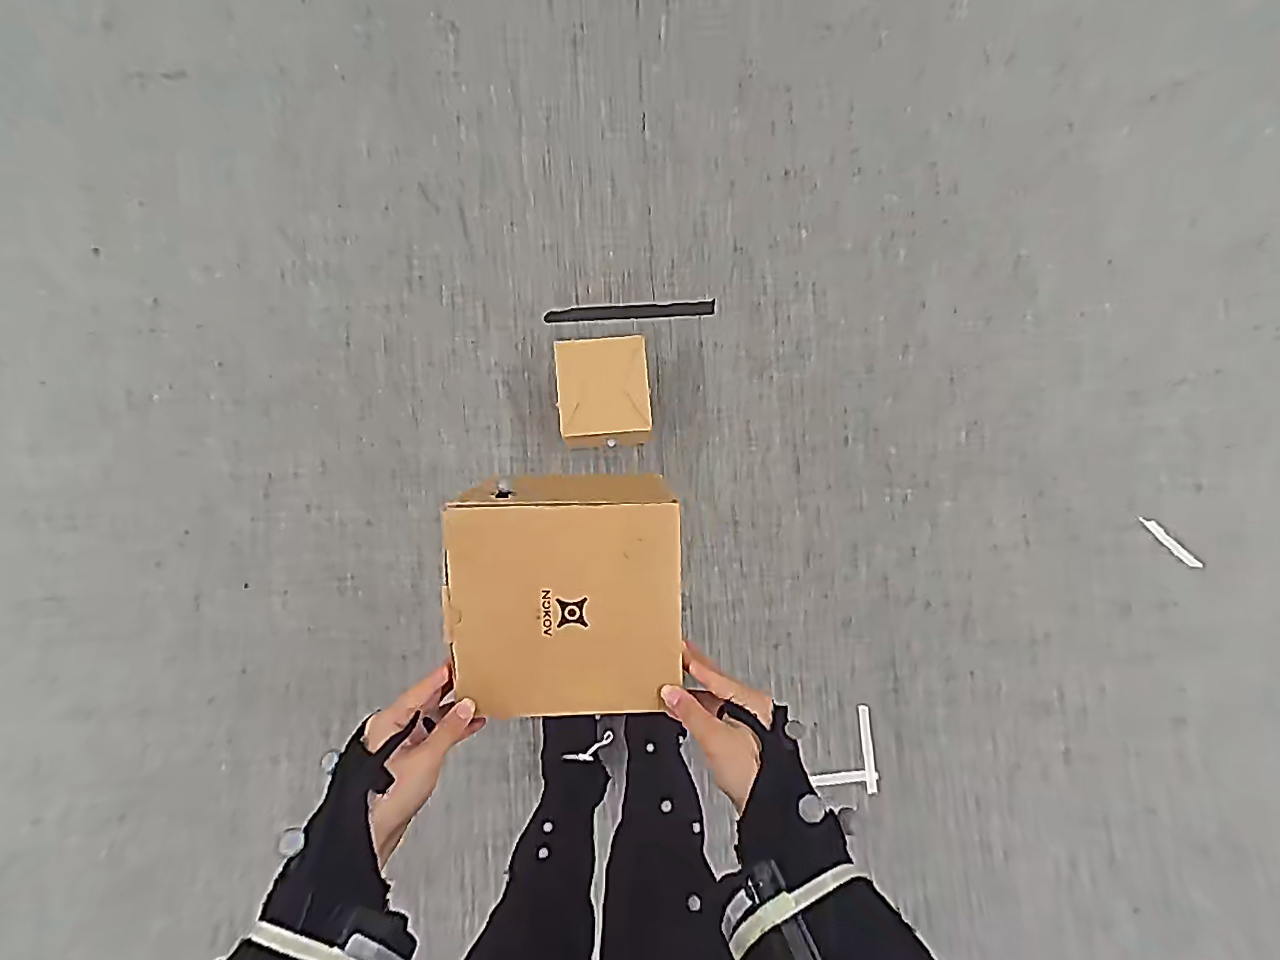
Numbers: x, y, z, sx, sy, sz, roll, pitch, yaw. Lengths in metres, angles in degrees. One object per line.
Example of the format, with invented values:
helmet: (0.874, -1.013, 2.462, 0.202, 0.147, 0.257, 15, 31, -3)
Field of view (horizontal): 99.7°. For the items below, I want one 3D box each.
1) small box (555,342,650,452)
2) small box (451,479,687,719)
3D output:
small box: (-0.071, -0.157, 1.053, 0.168, 0.176, 0.179, -5, 86, -2)
small box: (-0.055, 0.091, 0.488, 0.179, 0.176, 0.168, -1, 98, -2)
